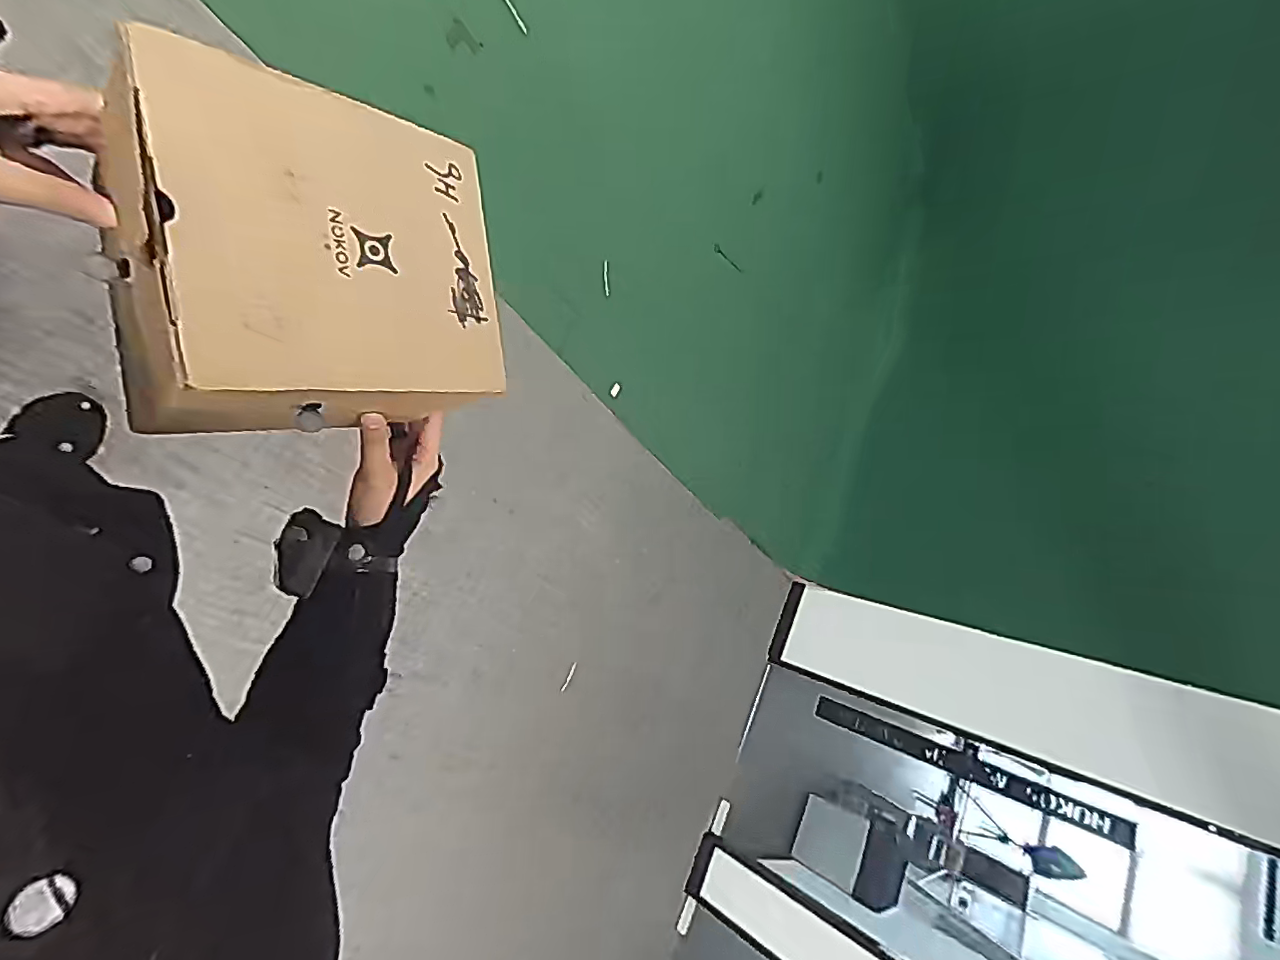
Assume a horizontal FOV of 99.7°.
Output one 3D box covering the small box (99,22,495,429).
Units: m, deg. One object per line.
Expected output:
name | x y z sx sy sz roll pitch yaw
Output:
small box | -0.225 -0.127 0.357 0.179 0.176 0.168 -10 94 -48
